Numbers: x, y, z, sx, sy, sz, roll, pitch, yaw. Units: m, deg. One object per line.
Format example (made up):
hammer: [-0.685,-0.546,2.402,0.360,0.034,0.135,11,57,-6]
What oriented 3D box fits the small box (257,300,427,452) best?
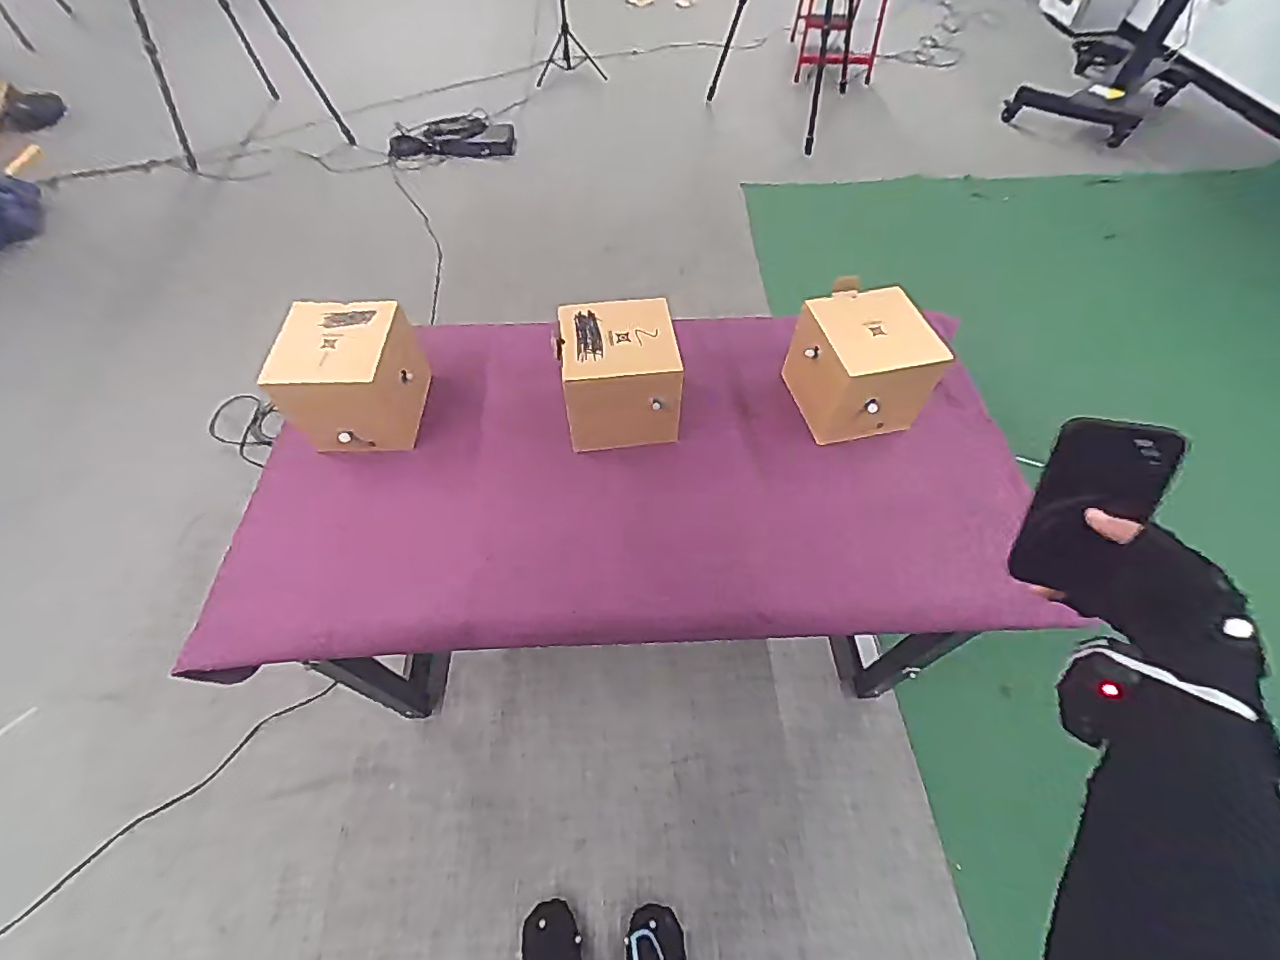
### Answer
small box: [-0.458,-0.164,0.869,0.168,0.176,0.179,-1,58,-1]

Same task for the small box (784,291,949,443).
small box: [0.356,-0.177,0.888,0.168,0.176,0.179,-10,56,-7]
